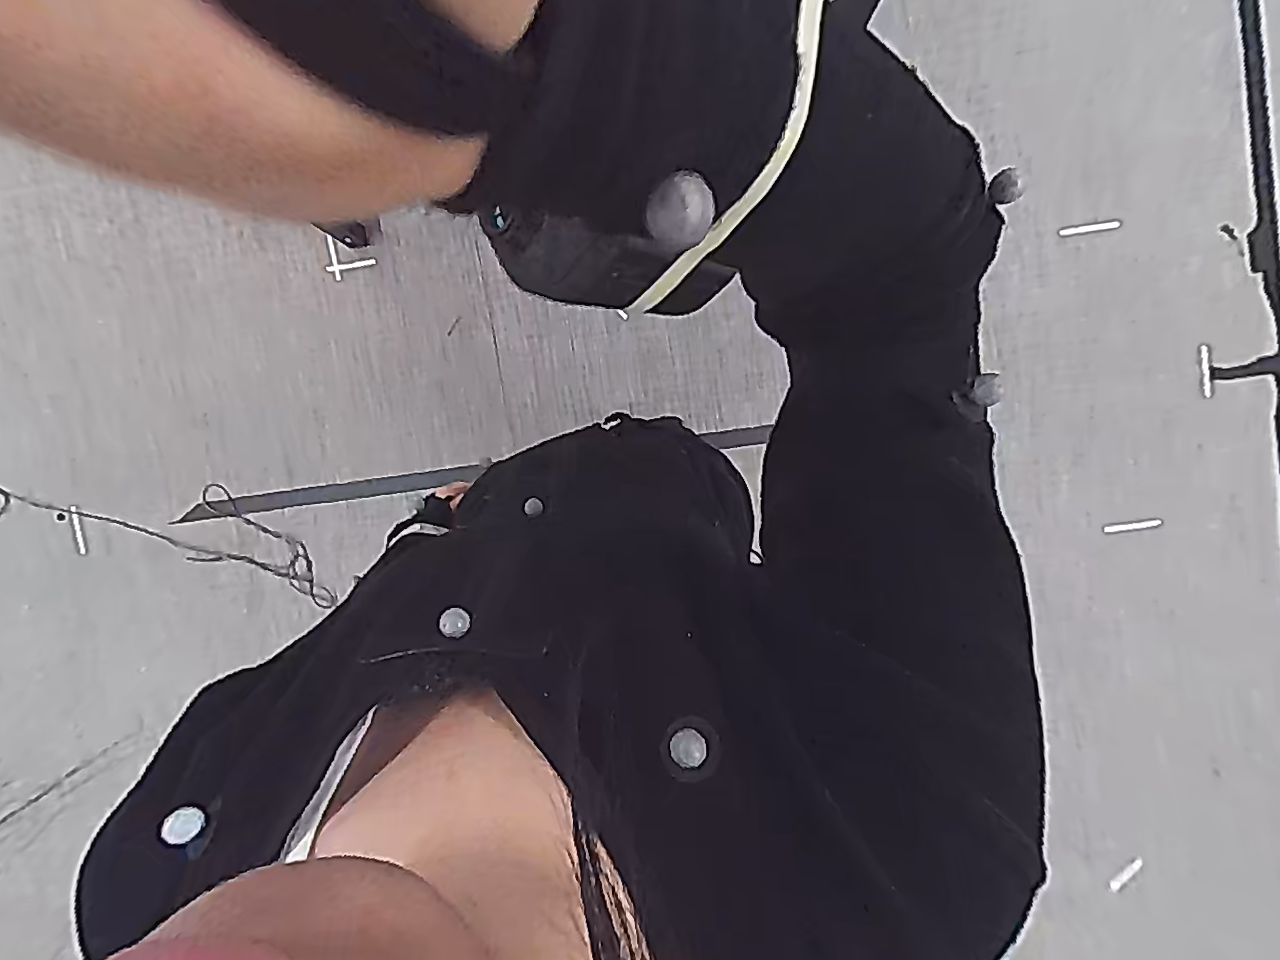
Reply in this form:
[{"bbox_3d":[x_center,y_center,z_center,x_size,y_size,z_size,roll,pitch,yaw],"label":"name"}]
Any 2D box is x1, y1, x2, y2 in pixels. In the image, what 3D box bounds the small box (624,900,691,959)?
[{"bbox_3d":[0.052,1.310,1.498,0.168,0.176,0.179,-11,95,2],"label":"small box"}]
